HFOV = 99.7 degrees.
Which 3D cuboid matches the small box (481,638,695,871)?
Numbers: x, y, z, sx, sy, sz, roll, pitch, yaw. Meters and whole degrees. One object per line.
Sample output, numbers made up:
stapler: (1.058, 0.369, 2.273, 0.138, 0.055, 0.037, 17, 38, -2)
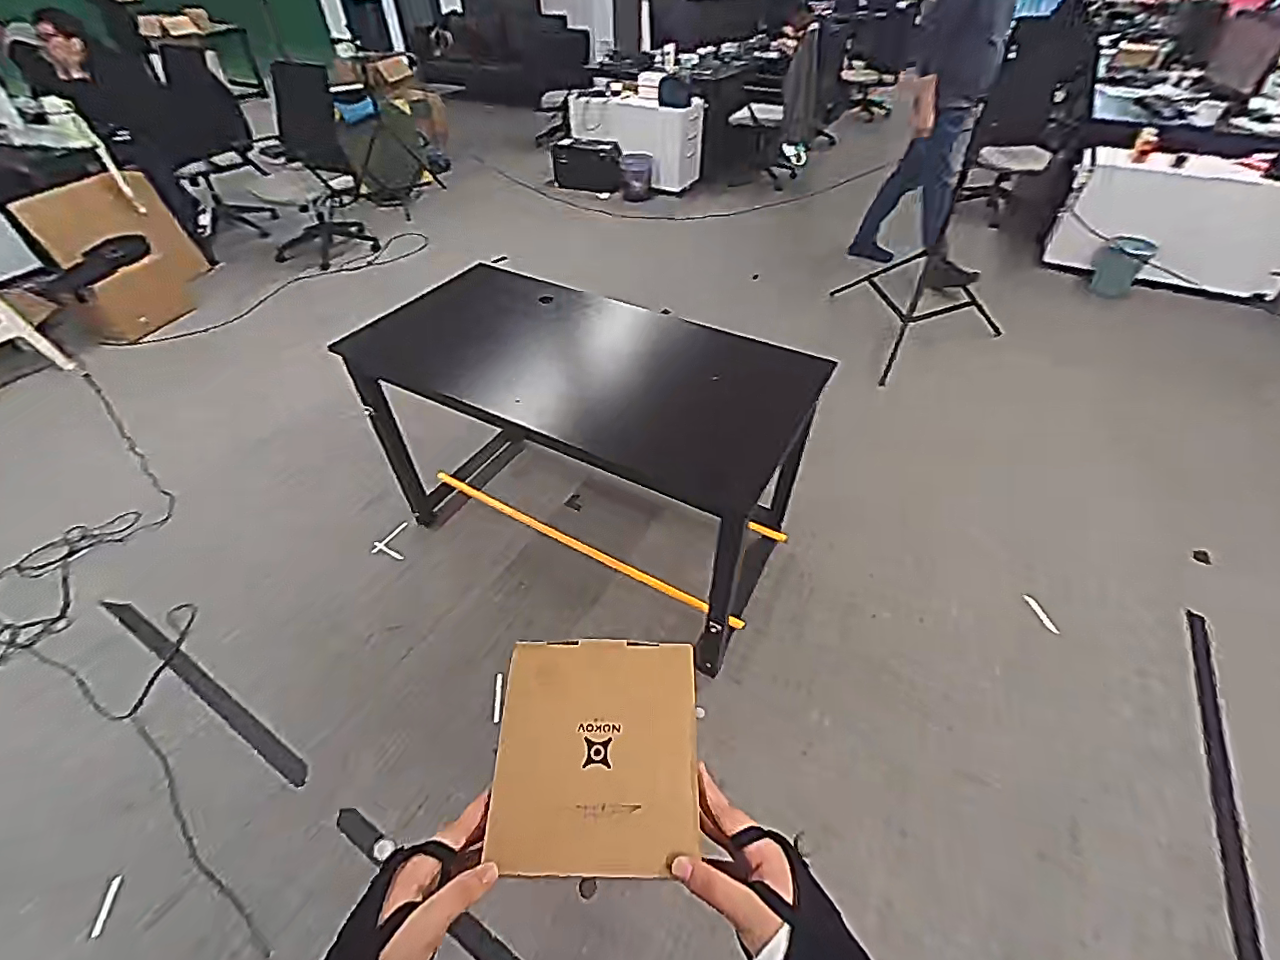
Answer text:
small box: (-0.039, 0.266, 0.520, 0.168, 0.176, 0.179, 0, 55, 1)
